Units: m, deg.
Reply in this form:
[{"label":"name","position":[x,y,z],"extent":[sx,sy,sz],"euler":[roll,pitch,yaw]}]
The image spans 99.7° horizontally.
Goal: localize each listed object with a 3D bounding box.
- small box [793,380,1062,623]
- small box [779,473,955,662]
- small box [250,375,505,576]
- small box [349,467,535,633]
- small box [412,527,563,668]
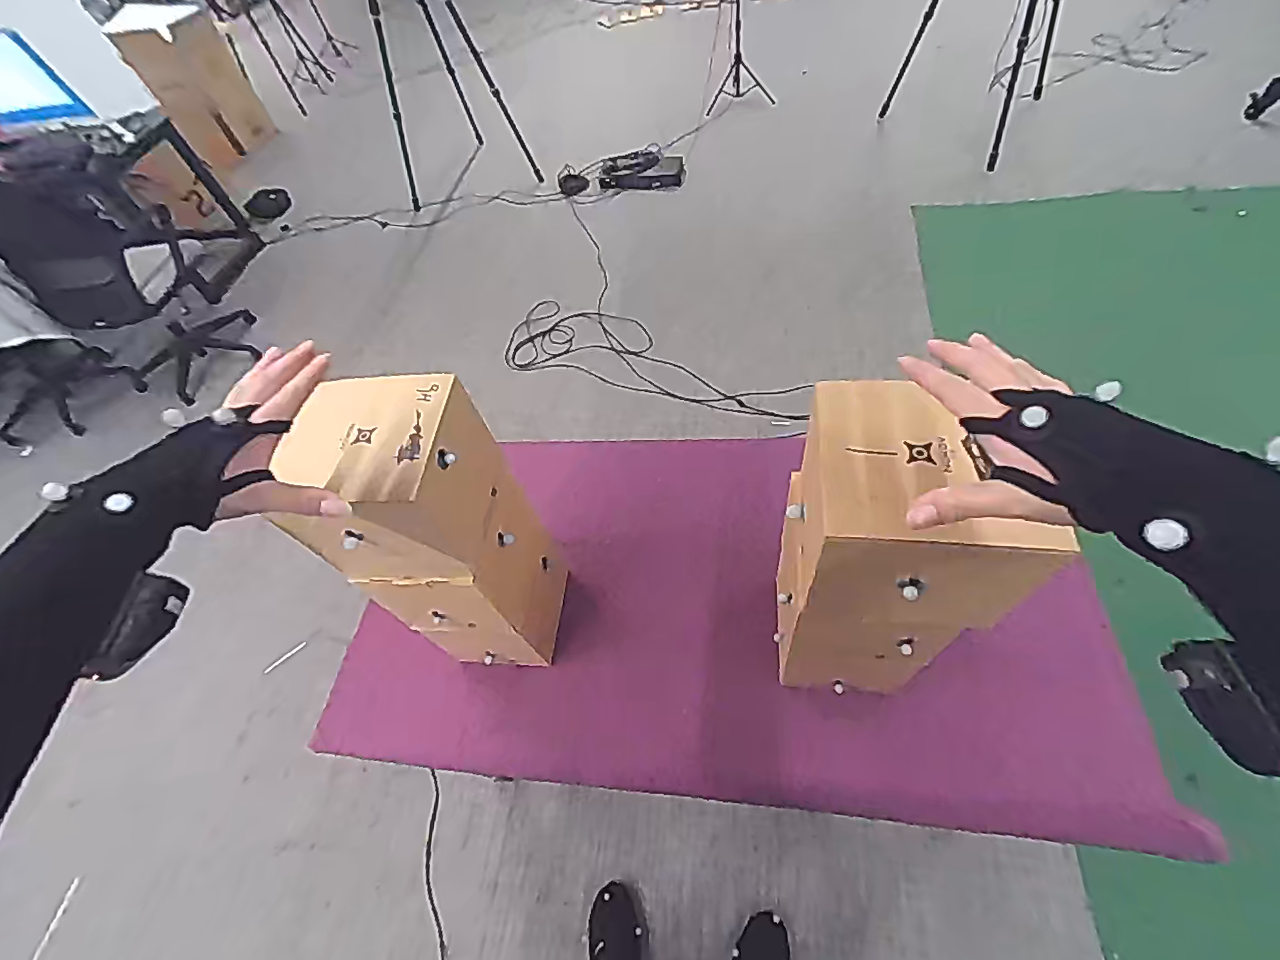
[{"label":"small box","position":[0.240,0.025,0.508],"extent":[0.179,0.176,0.168],"euler":[2,56,13]},{"label":"small box","position":[0.257,0.108,0.647],"extent":[0.168,0.176,0.179],"euler":[0,56,11]},{"label":"small box","position":[-0.279,0.003,0.622],"extent":[0.179,0.176,0.168],"euler":[-3,56,9]},{"label":"small box","position":[-0.256,0.097,0.754],"extent":[0.168,0.176,0.179],"euler":[-1,56,9]},{"label":"small box","position":[-0.233,0.191,0.884],"extent":[0.168,0.176,0.179],"euler":[0,55,11]}]
